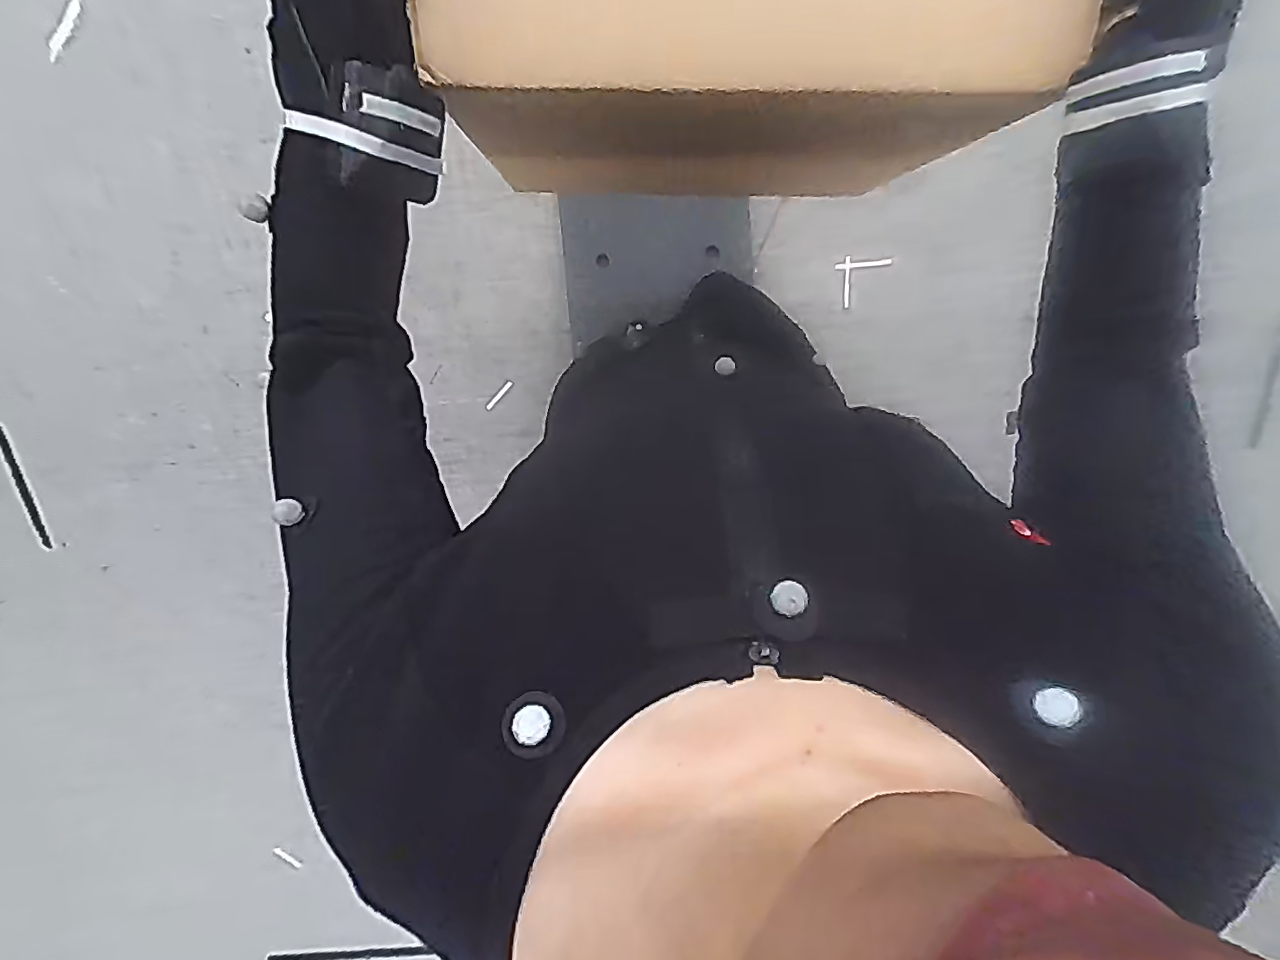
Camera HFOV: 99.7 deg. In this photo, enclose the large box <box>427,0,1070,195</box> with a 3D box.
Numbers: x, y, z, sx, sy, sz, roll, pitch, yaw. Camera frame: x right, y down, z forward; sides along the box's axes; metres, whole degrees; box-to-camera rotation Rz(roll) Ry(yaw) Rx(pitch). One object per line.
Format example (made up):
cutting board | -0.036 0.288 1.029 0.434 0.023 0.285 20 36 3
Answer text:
large box | 0.059 -0.437 0.440 0.408 0.320 0.320 -1 107 -3
